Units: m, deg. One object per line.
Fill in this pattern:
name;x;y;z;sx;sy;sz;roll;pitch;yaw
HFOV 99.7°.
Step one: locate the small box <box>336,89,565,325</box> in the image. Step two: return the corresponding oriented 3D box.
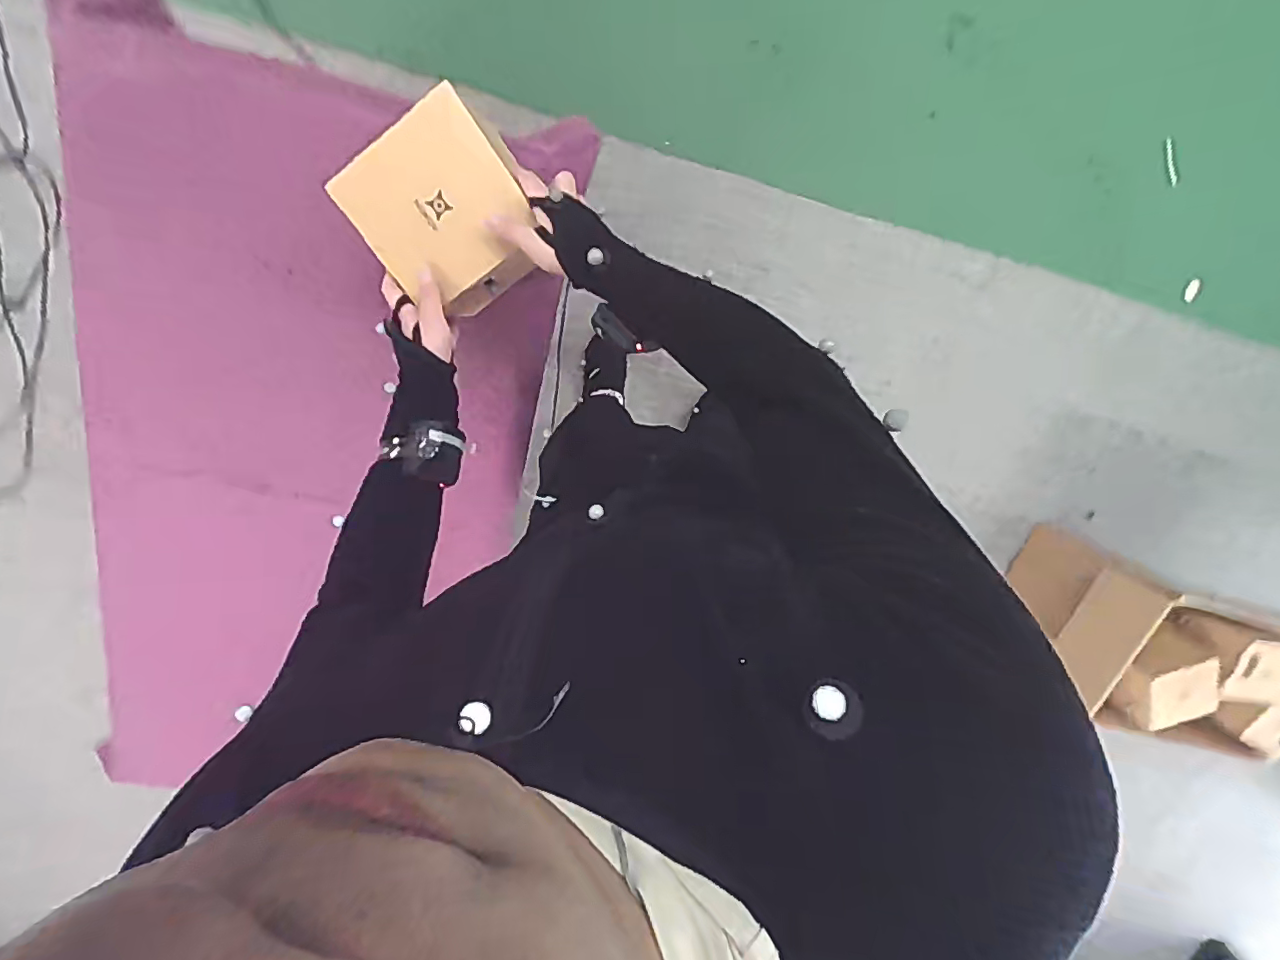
small box;-0.205;-0.310;0.649;0.179;0.176;0.168;-32;106;13
